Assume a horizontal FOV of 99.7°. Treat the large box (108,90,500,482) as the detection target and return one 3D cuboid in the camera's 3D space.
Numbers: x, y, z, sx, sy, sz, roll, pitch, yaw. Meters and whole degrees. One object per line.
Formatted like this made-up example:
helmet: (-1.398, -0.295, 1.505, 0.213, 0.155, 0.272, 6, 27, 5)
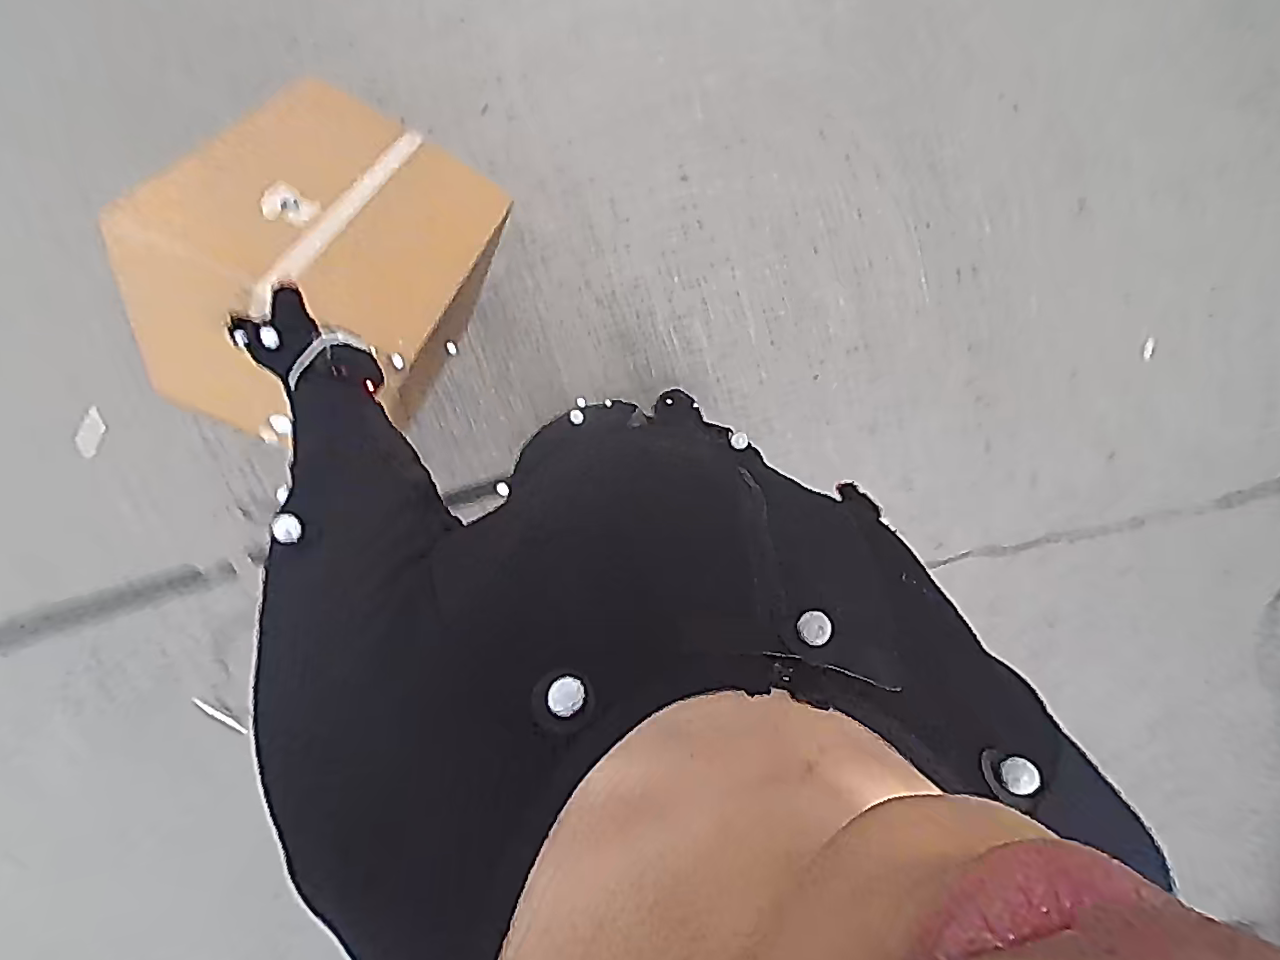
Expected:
large box: (-0.458, -0.276, 0.825, 0.320, 0.320, 0.408, 25, 54, -17)
